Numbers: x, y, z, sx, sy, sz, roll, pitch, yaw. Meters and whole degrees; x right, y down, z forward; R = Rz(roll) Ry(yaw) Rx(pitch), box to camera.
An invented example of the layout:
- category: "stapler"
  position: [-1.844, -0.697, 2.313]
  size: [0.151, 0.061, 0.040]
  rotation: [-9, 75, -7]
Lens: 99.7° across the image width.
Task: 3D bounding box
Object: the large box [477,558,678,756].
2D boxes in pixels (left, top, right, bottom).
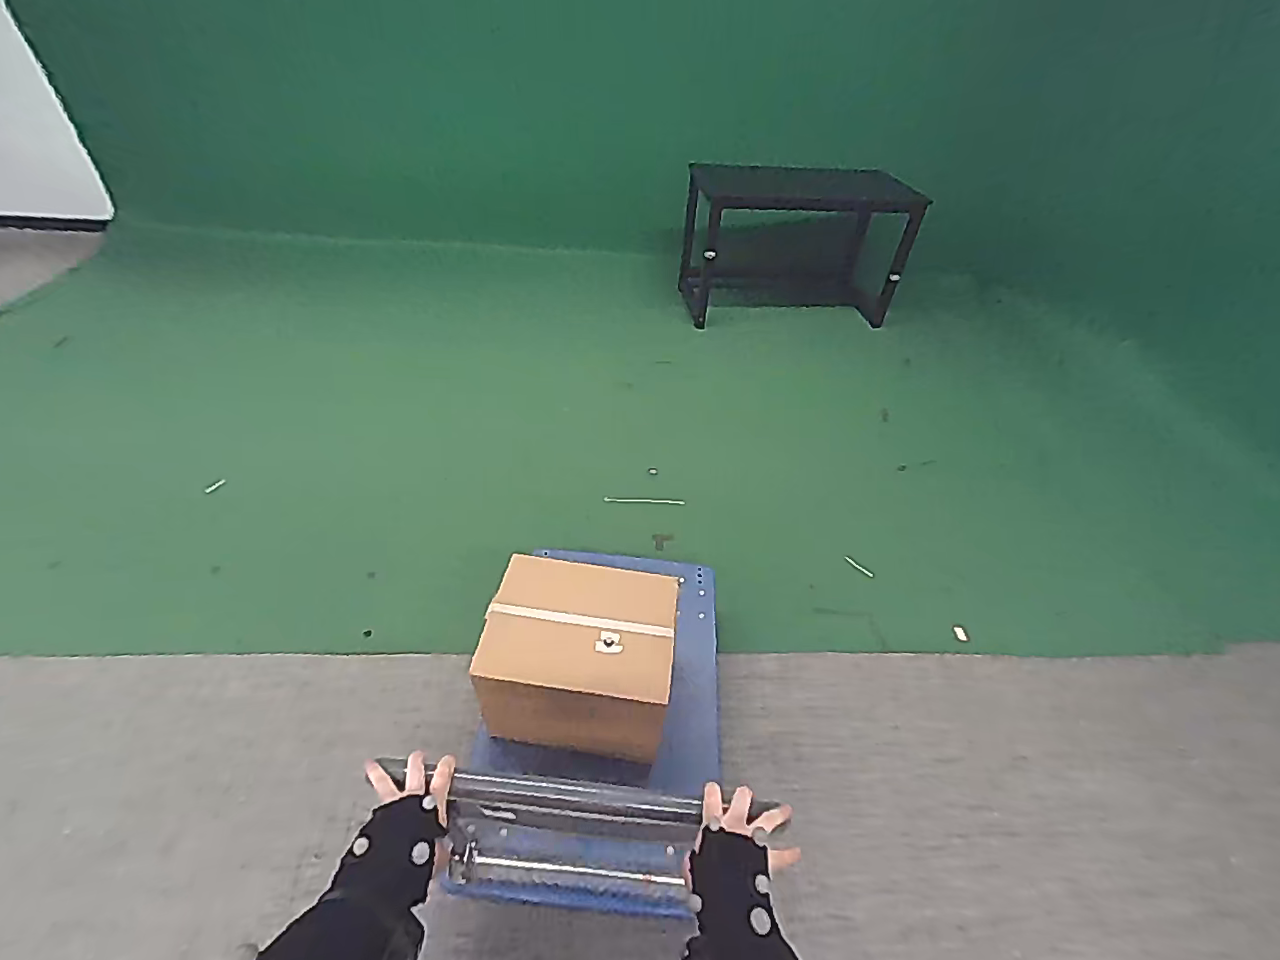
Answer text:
- category: "large box"
  position: [-0.136, 0.423, 1.299]
  size: [0.408, 0.320, 0.320]
  rotation: [8, 43, 2]
